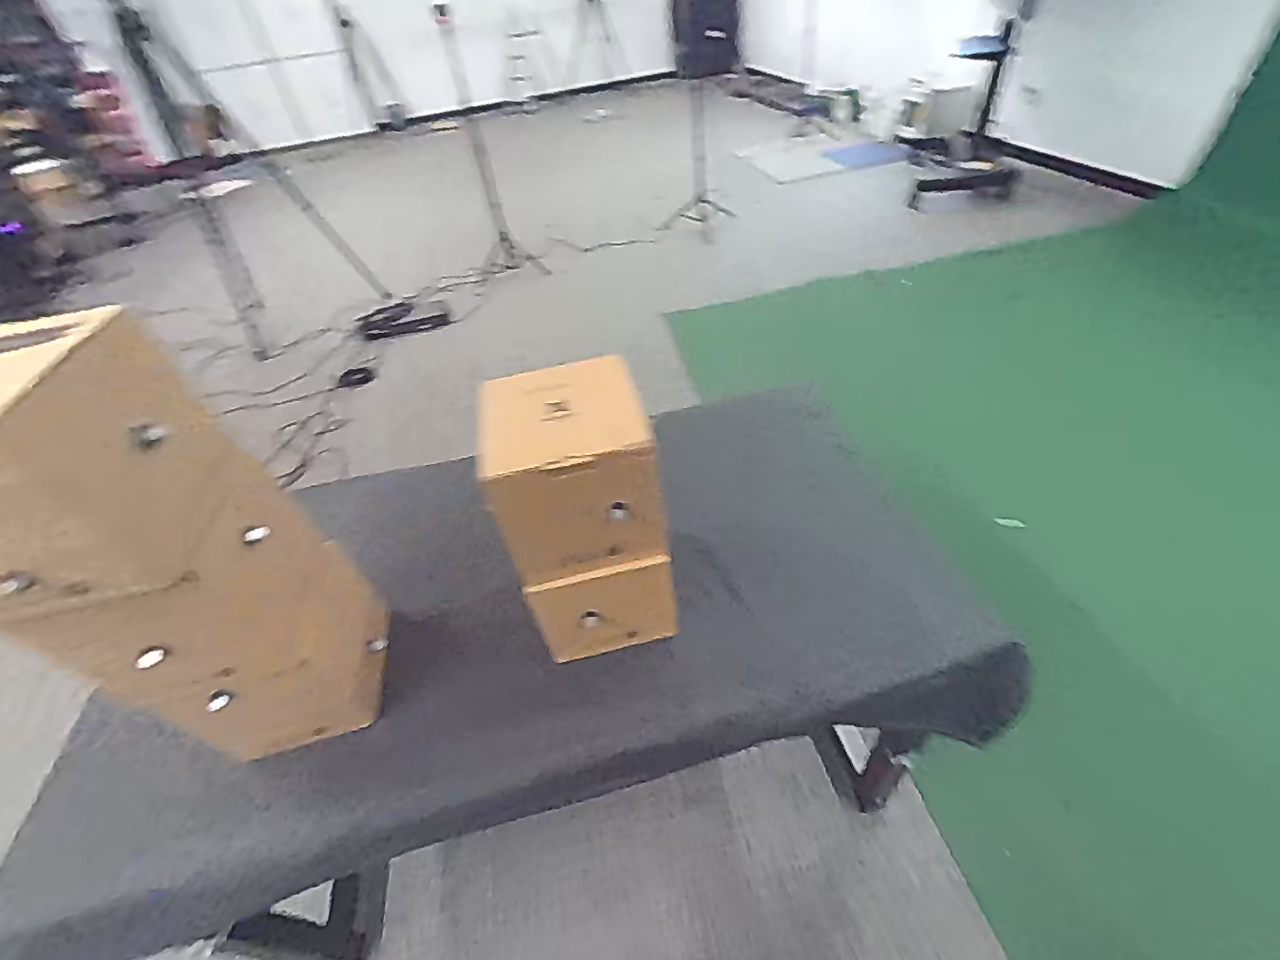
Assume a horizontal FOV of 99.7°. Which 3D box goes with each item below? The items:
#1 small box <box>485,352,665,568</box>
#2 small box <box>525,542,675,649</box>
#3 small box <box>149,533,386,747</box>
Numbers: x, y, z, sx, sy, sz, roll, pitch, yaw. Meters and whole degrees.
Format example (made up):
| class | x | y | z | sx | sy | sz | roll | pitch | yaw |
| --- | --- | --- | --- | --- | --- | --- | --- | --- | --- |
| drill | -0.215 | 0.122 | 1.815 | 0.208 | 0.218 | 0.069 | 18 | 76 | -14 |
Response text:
| class | x | y | z | sx | sy | sz | roll | pitch | yaw |
| --- | --- | --- | --- | --- | --- | --- | --- | --- | --- |
| small box | -0.071 | -0.018 | 0.616 | 0.168 | 0.176 | 0.179 | -12 | 42 | -6 |
| small box | -0.053 | 0.105 | 0.721 | 0.168 | 0.176 | 0.179 | -12 | 43 | -4 |
| small box | -0.438 | 0.199 | 0.677 | 0.168 | 0.176 | 0.179 | -14 | 43 | -6 |
